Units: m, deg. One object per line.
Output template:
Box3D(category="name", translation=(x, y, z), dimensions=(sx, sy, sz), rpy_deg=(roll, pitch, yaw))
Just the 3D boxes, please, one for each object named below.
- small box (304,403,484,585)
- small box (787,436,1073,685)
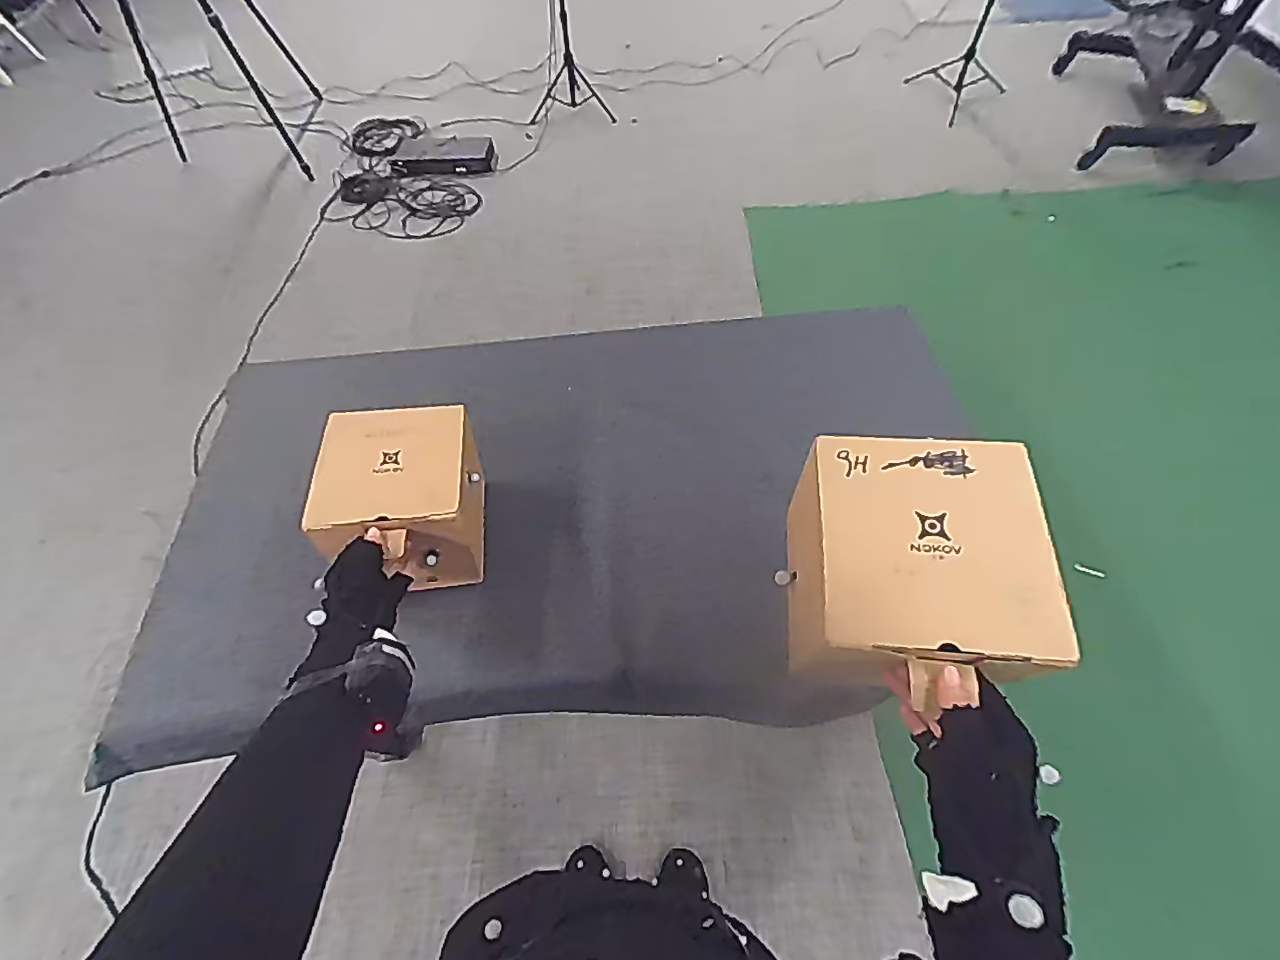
Box3D(category="small box", translation=(-0.299, 0.024, 0.701), dimensions=(0.168, 0.176, 0.179), rpy_deg=(-5, 52, -9))
Box3D(category="small box", translation=(0.228, 0.079, 0.479), dimensions=(0.168, 0.176, 0.179), rpy_deg=(3, 65, 7))
